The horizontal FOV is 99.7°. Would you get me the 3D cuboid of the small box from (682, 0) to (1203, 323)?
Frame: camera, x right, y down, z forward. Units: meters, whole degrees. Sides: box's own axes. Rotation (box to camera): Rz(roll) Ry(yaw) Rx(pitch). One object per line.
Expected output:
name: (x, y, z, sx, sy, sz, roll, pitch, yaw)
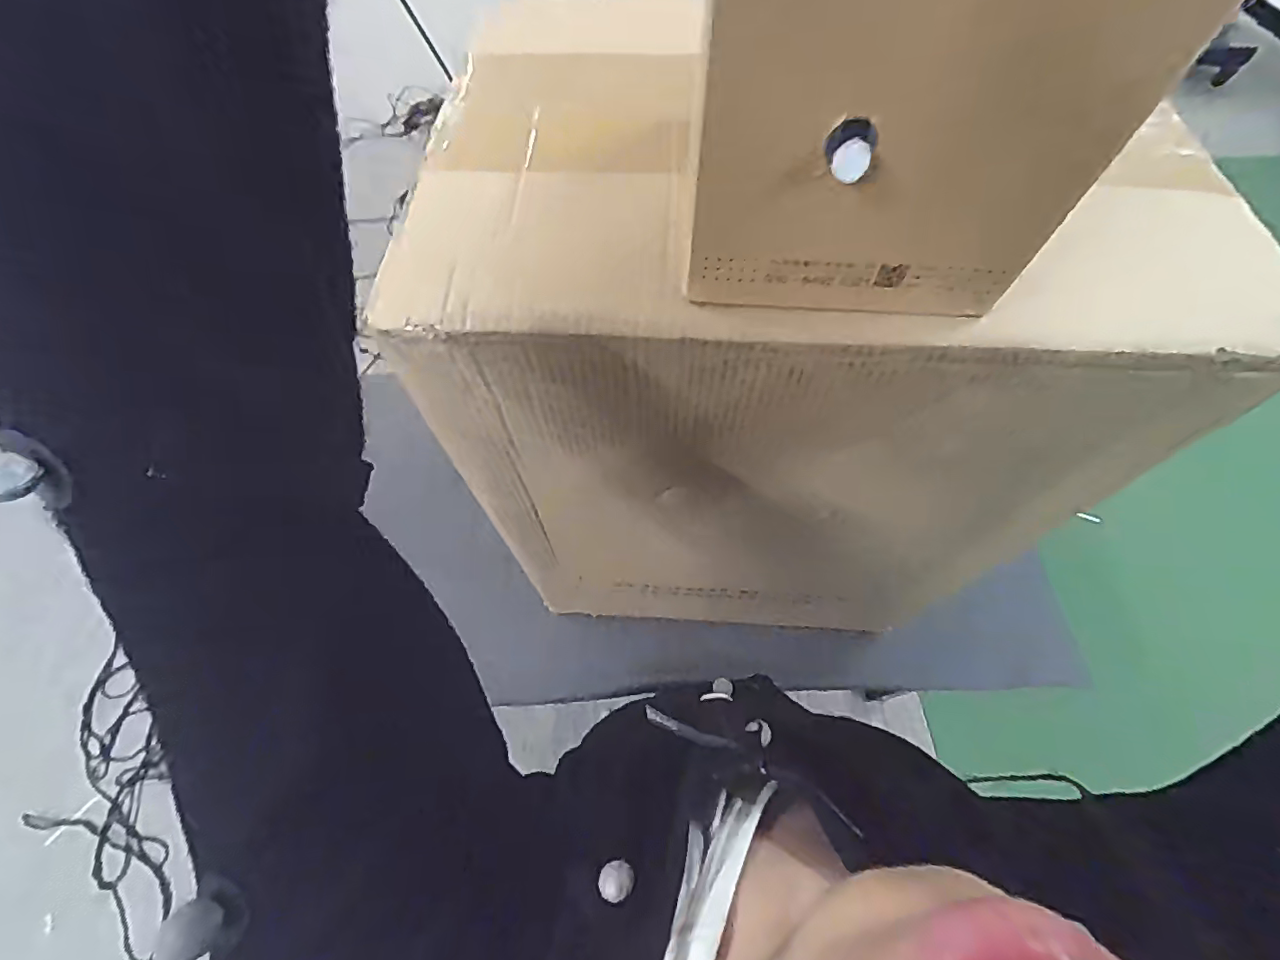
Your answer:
small box: (0.109, -0.199, 0.266, 0.168, 0.176, 0.179, 4, 64, 3)
